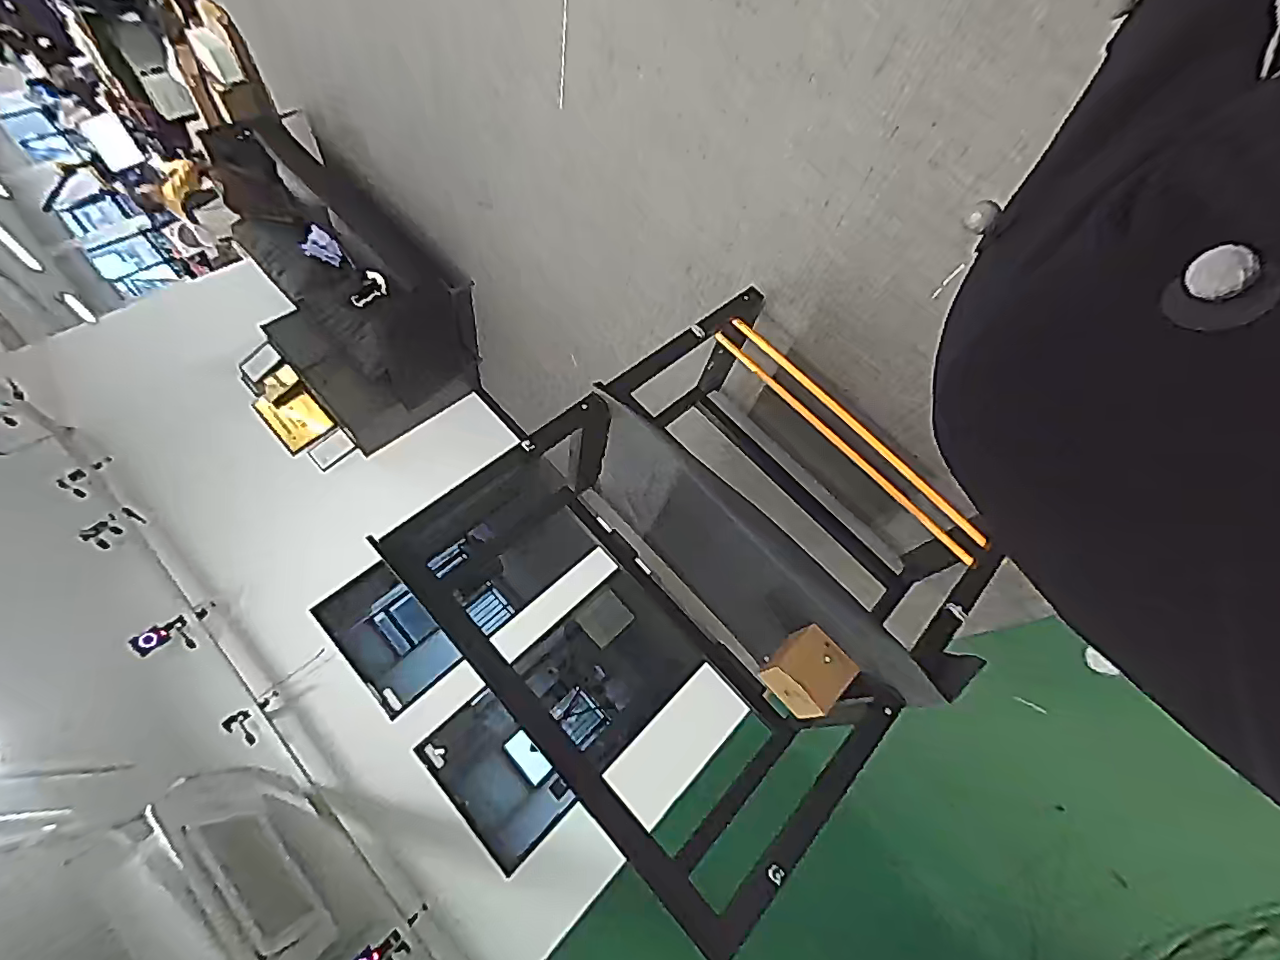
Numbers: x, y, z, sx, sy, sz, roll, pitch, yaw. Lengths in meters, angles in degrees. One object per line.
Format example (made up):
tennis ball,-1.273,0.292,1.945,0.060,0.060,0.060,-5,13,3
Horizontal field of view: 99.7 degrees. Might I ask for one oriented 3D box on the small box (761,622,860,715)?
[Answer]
small box,0.471,0.520,1.494,0.168,0.176,0.179,44,155,13
